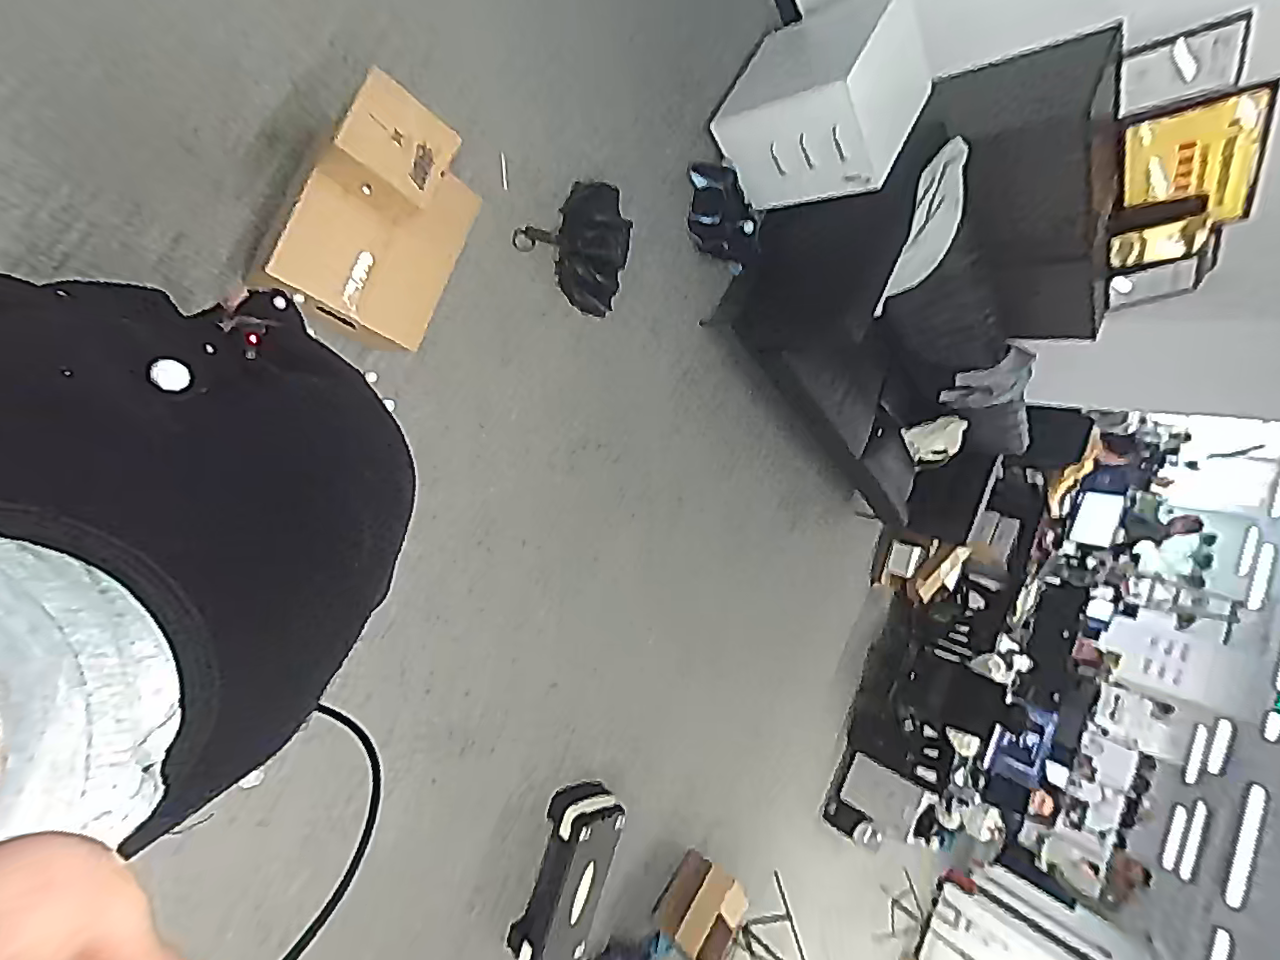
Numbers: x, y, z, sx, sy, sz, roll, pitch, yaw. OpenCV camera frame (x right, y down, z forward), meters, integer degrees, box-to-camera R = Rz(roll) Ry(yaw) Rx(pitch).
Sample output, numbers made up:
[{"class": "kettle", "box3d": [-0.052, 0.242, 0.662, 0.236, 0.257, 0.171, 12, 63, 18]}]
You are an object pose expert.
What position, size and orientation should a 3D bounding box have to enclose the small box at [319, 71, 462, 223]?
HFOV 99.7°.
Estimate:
[{"class": "small box", "box3d": [-0.485, -0.625, 1.046, 0.179, 0.176, 0.168, 28, 81, -40]}]
